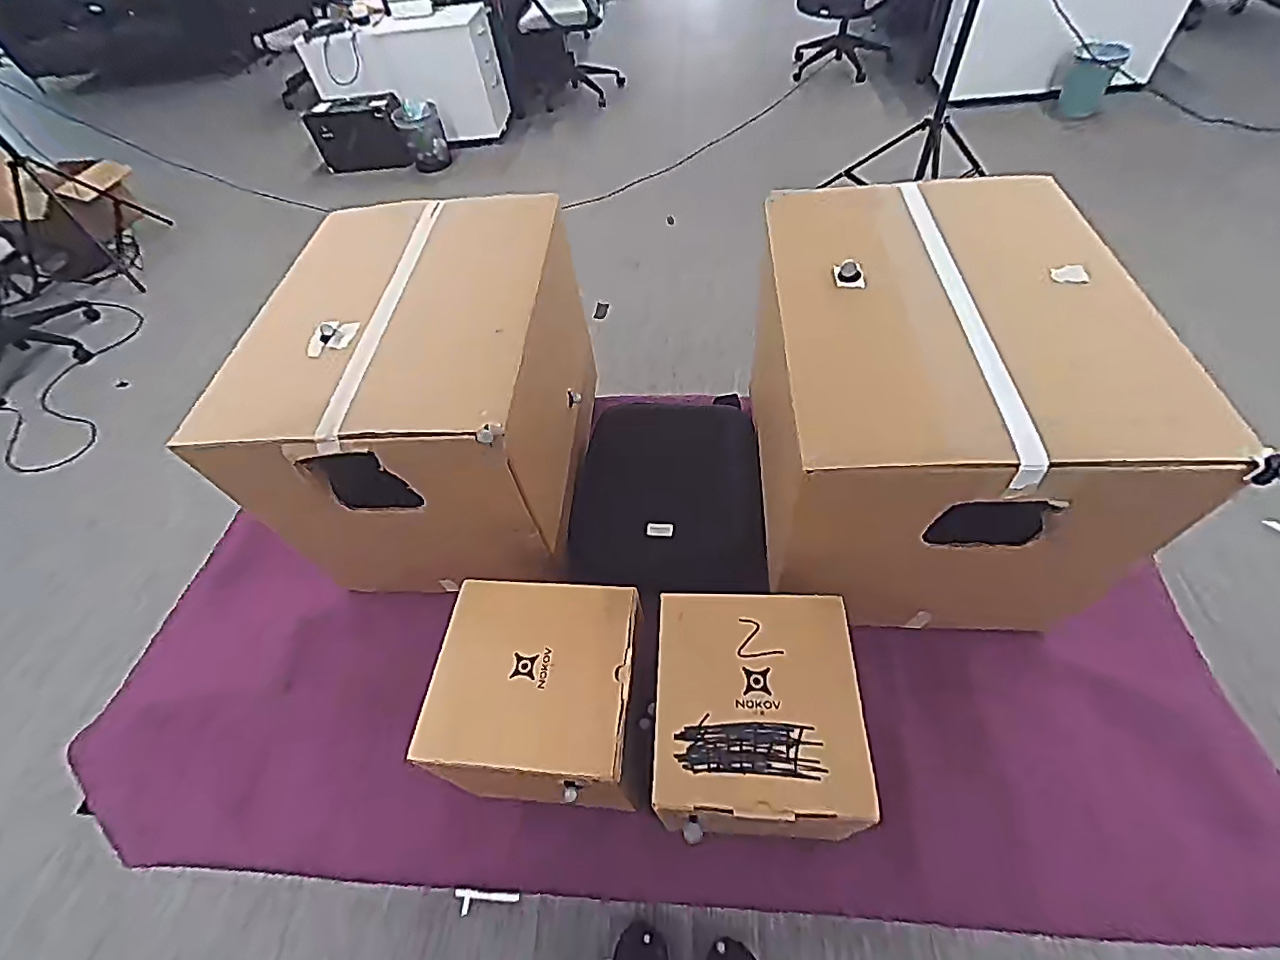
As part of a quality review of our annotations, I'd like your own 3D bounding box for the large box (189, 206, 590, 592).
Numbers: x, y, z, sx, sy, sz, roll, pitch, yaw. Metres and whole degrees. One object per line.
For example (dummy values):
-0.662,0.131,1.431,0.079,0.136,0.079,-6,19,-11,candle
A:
-0.247,-0.099,0.712,0.320,0.320,0.408,-3,55,6,large box
